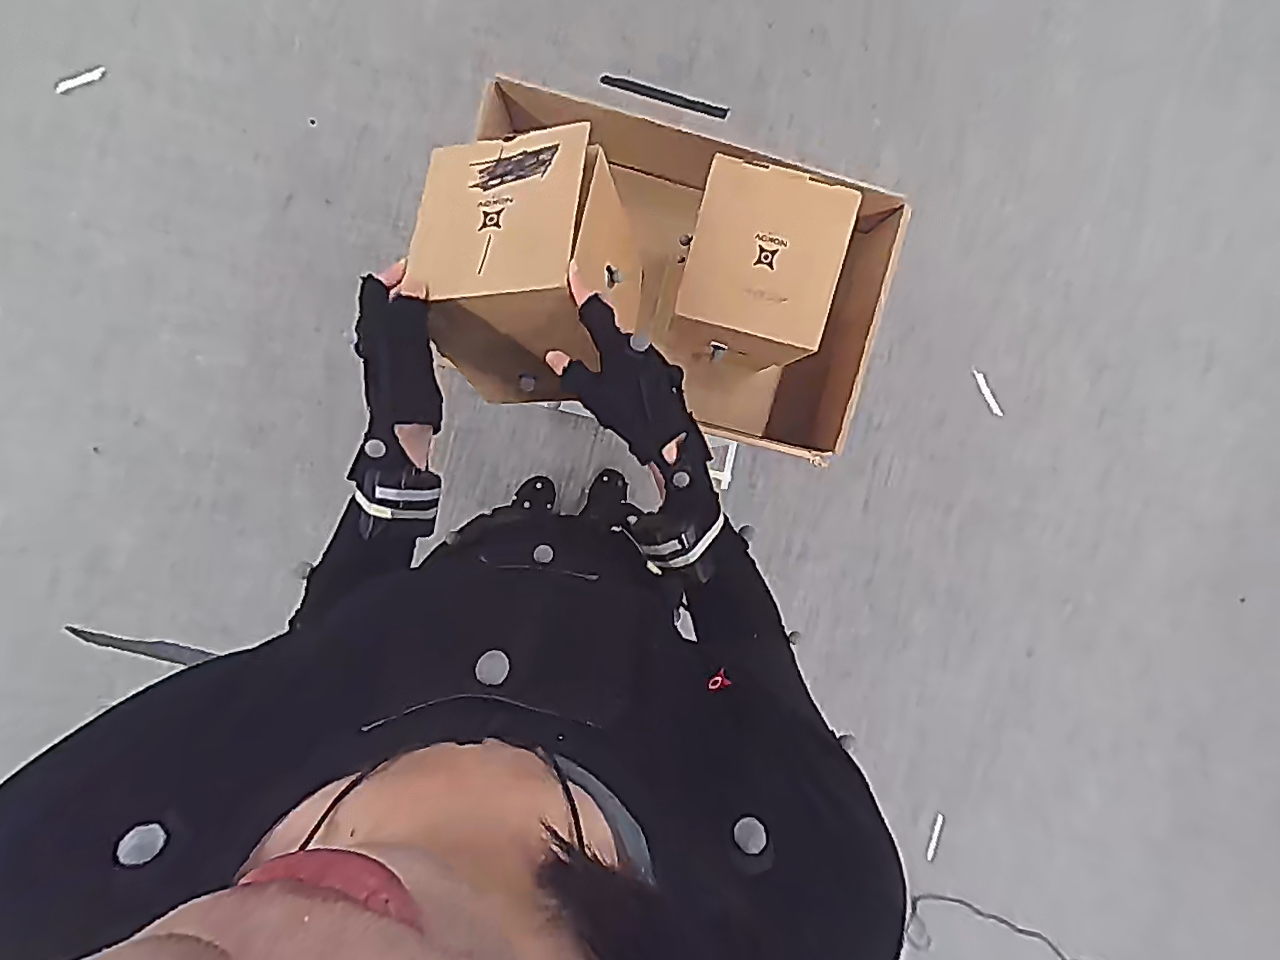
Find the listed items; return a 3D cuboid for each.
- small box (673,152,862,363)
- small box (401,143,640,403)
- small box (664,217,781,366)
[{"bbox_3d":[0.139,-0.253,0.661,0.168,0.176,0.179,14,97,0],"label":"small box"},{"bbox_3d":[-0.103,-0.198,0.554,0.168,0.176,0.179,-1,66,16],"label":"small box"},{"bbox_3d":[0.142,-0.276,0.823,0.179,0.176,0.168,14,95,-2],"label":"small box"}]
